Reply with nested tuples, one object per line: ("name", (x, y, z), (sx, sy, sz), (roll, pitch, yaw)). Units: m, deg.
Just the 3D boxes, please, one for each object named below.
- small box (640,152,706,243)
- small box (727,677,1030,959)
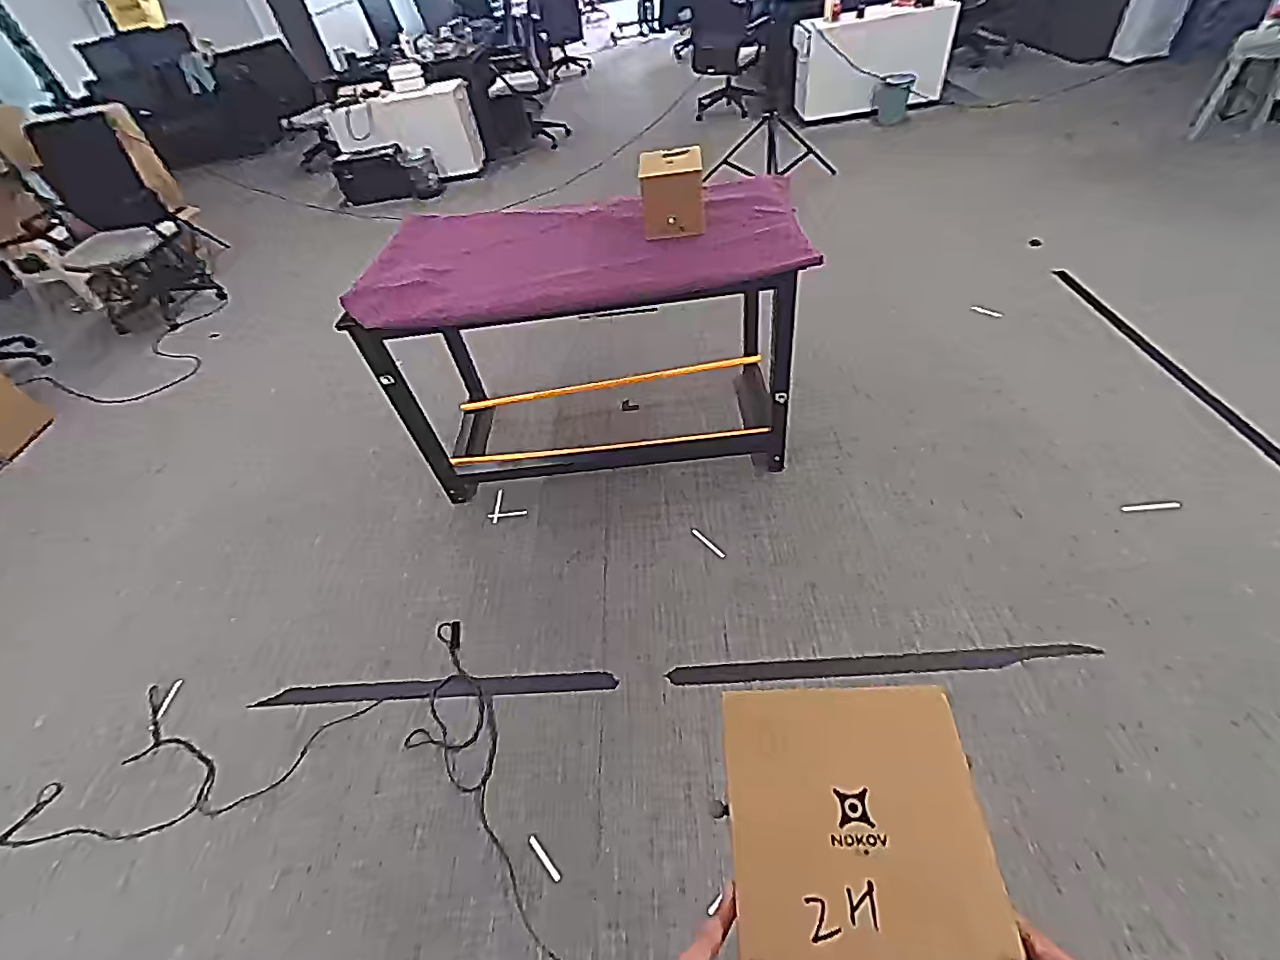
("small box", (0.096, -0.782, 1.500), (0.168, 0.176, 0.179), (-3, 47, 8))
("small box", (0.155, 0.269, 0.424), (0.168, 0.176, 0.179), (-5, 53, 8))
